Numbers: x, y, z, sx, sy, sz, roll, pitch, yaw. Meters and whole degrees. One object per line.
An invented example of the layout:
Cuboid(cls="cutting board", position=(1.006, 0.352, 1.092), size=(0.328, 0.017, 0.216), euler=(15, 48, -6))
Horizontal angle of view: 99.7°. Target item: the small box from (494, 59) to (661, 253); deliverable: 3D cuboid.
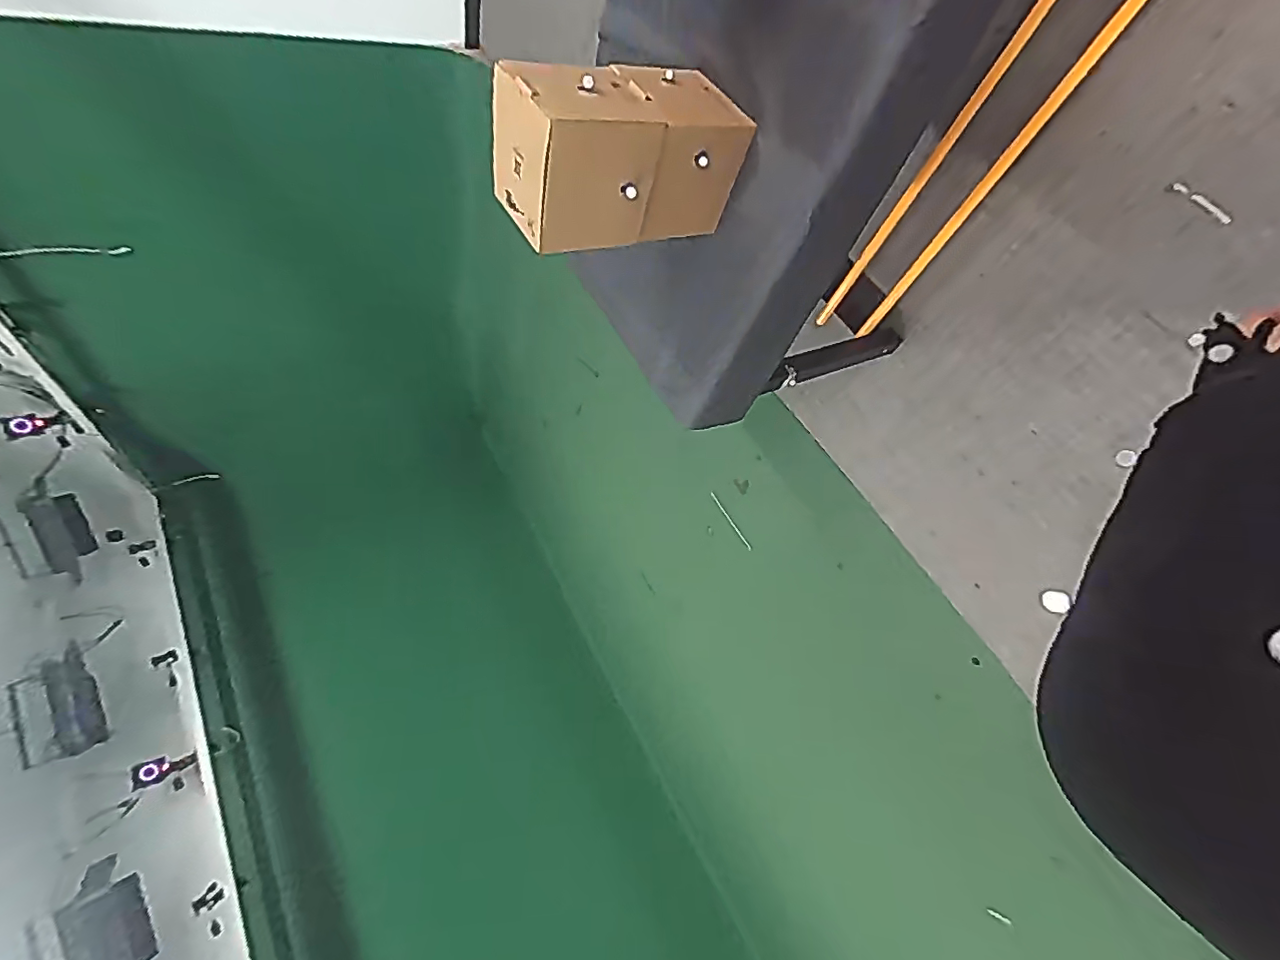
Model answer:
Cuboid(cls="small box", position=(-0.091, -0.449, 0.762), size=(0.168, 0.176, 0.179), euler=(57, 148, 26))

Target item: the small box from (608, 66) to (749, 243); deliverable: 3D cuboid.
Cuboid(cls="small box", position=(0.043, -0.502, 0.842), size=(0.168, 0.176, 0.179), euler=(59, 150, 23))
